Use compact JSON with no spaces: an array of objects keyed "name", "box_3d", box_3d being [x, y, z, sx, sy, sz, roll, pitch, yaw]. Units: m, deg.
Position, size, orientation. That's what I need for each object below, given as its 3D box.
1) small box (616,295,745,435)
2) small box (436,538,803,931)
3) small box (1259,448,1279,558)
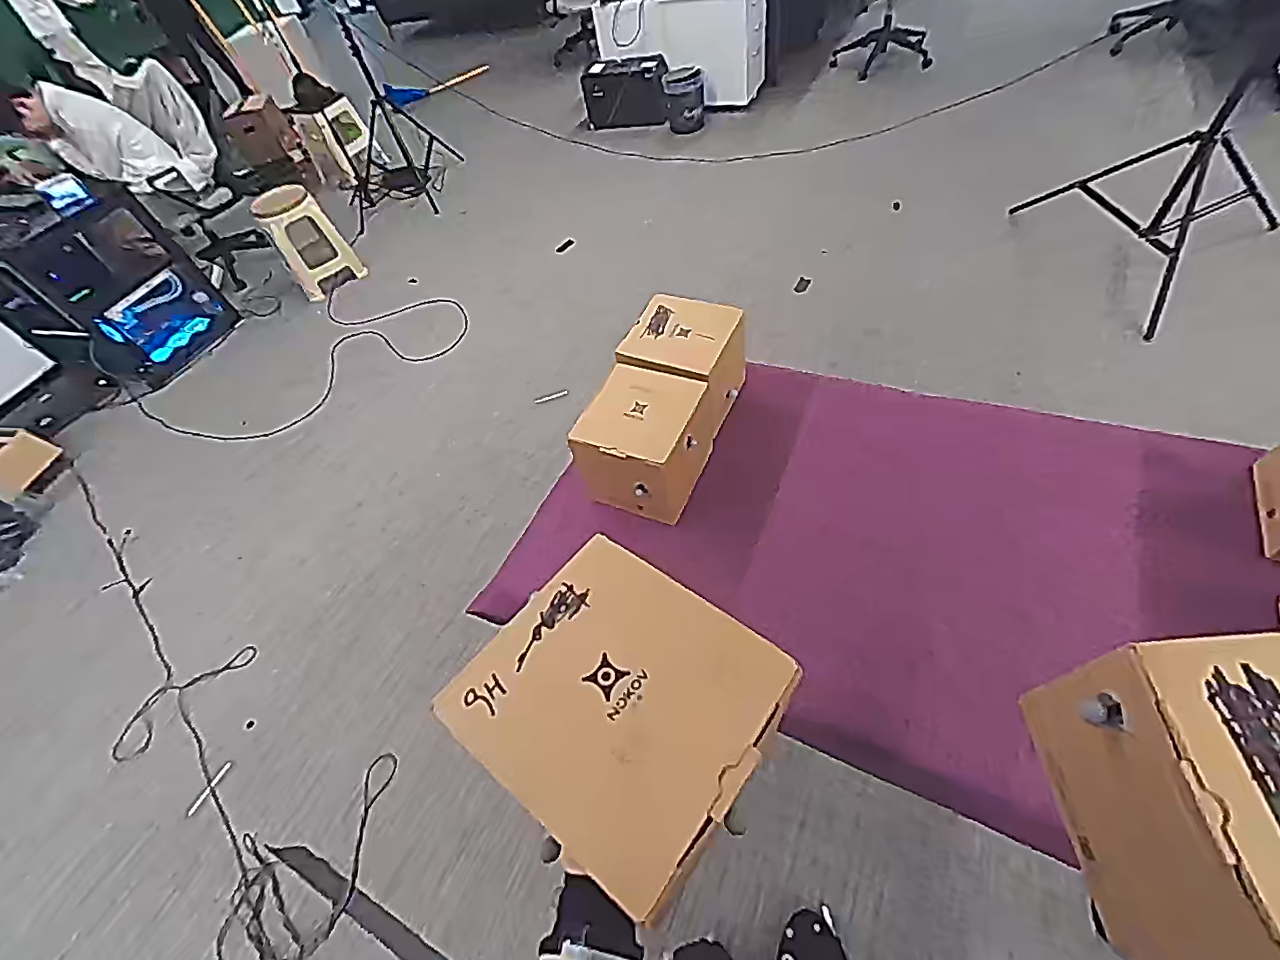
[{"name":"small box","box_3d":[0.081,-0.206,0.986,0.179,0.176,0.168,19,61,22]},{"name":"small box","box_3d":[-0.009,0.183,0.401,0.179,0.176,0.168,30,57,25]},{"name":"small box","box_3d":[0.911,0.017,0.650,0.179,0.176,0.168,18,60,22]}]
